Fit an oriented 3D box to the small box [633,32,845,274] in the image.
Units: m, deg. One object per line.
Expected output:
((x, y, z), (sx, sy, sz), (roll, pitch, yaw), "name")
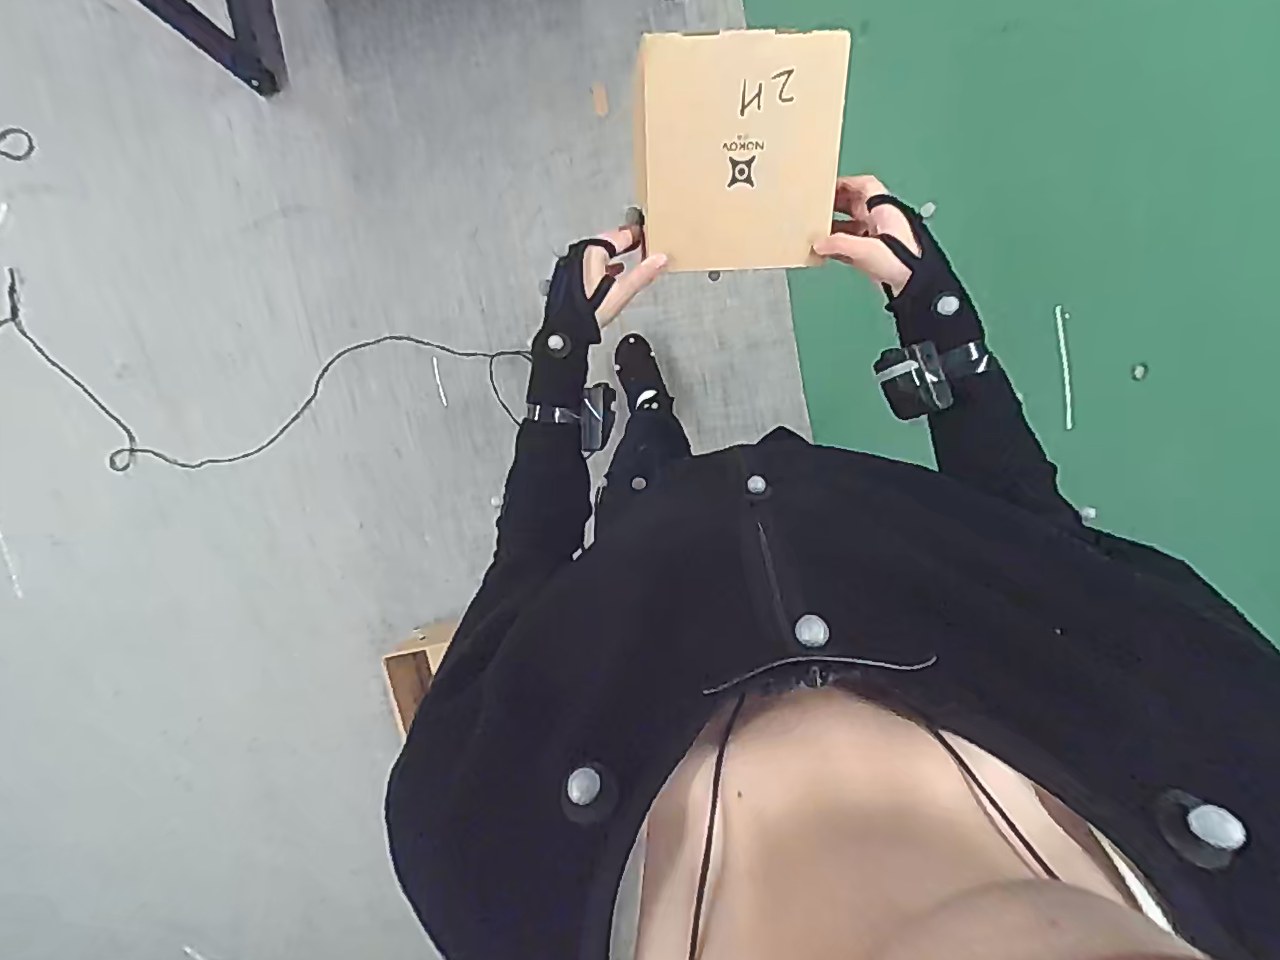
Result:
((0.080, -0.304, 0.531), (0.168, 0.176, 0.179), (-3, 114, -2), "small box")
